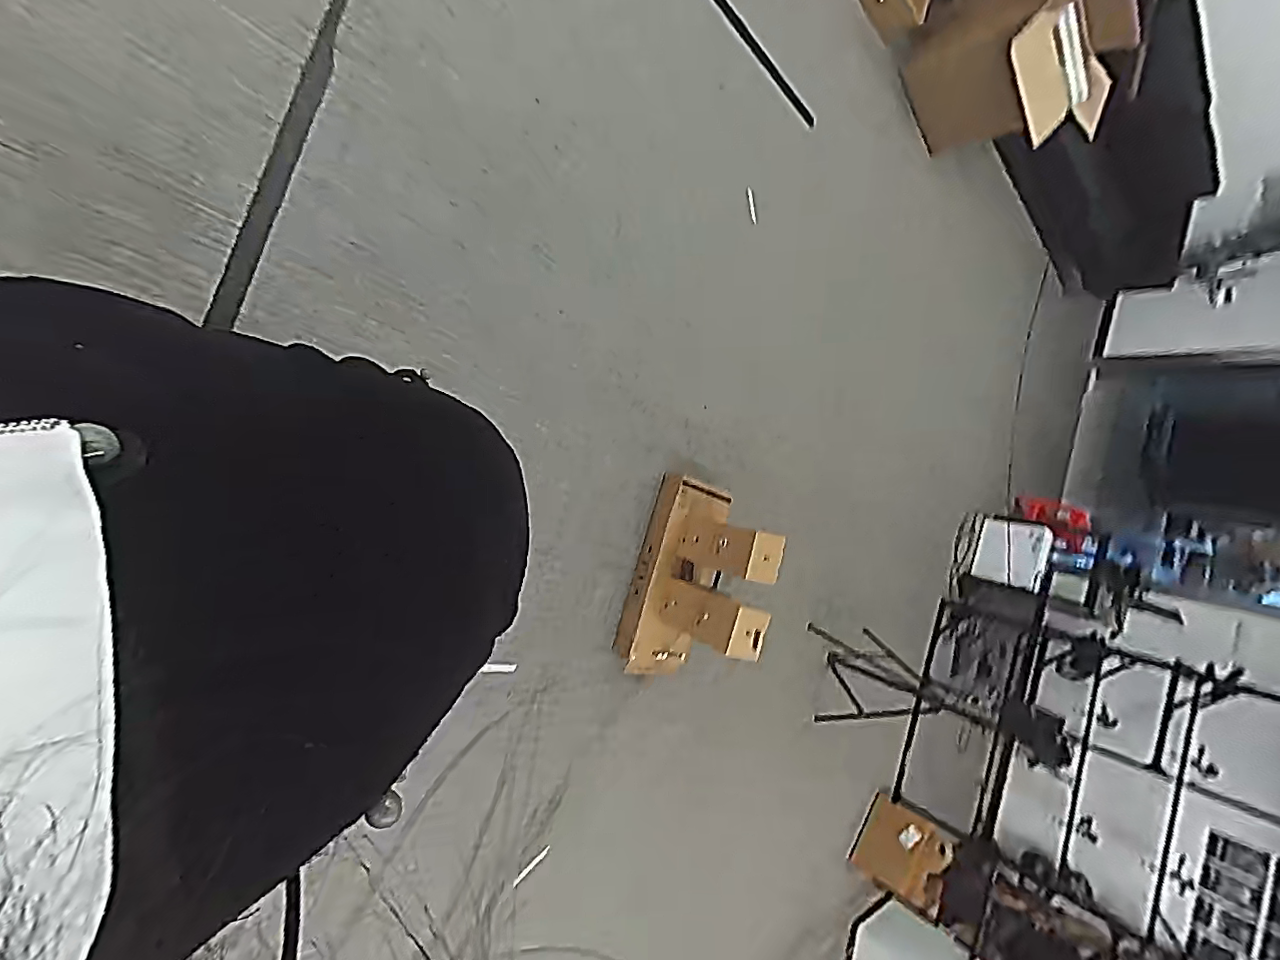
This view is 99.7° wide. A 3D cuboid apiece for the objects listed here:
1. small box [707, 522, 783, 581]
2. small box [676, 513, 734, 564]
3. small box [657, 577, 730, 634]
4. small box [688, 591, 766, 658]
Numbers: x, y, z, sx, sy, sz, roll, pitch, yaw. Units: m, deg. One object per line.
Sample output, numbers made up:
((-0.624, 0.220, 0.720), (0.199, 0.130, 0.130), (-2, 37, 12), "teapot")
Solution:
((0.359, 0.244, 1.861), (0.179, 0.176, 0.168), (13, 88, -40), "small box")
((0.257, 0.223, 1.988), (0.179, 0.176, 0.168), (17, 87, -40), "small box")
((0.193, 0.461, 1.975), (0.179, 0.176, 0.168), (18, 86, -40), "small box")
((0.297, 0.492, 1.852), (0.179, 0.176, 0.168), (24, 82, -40), "small box")
